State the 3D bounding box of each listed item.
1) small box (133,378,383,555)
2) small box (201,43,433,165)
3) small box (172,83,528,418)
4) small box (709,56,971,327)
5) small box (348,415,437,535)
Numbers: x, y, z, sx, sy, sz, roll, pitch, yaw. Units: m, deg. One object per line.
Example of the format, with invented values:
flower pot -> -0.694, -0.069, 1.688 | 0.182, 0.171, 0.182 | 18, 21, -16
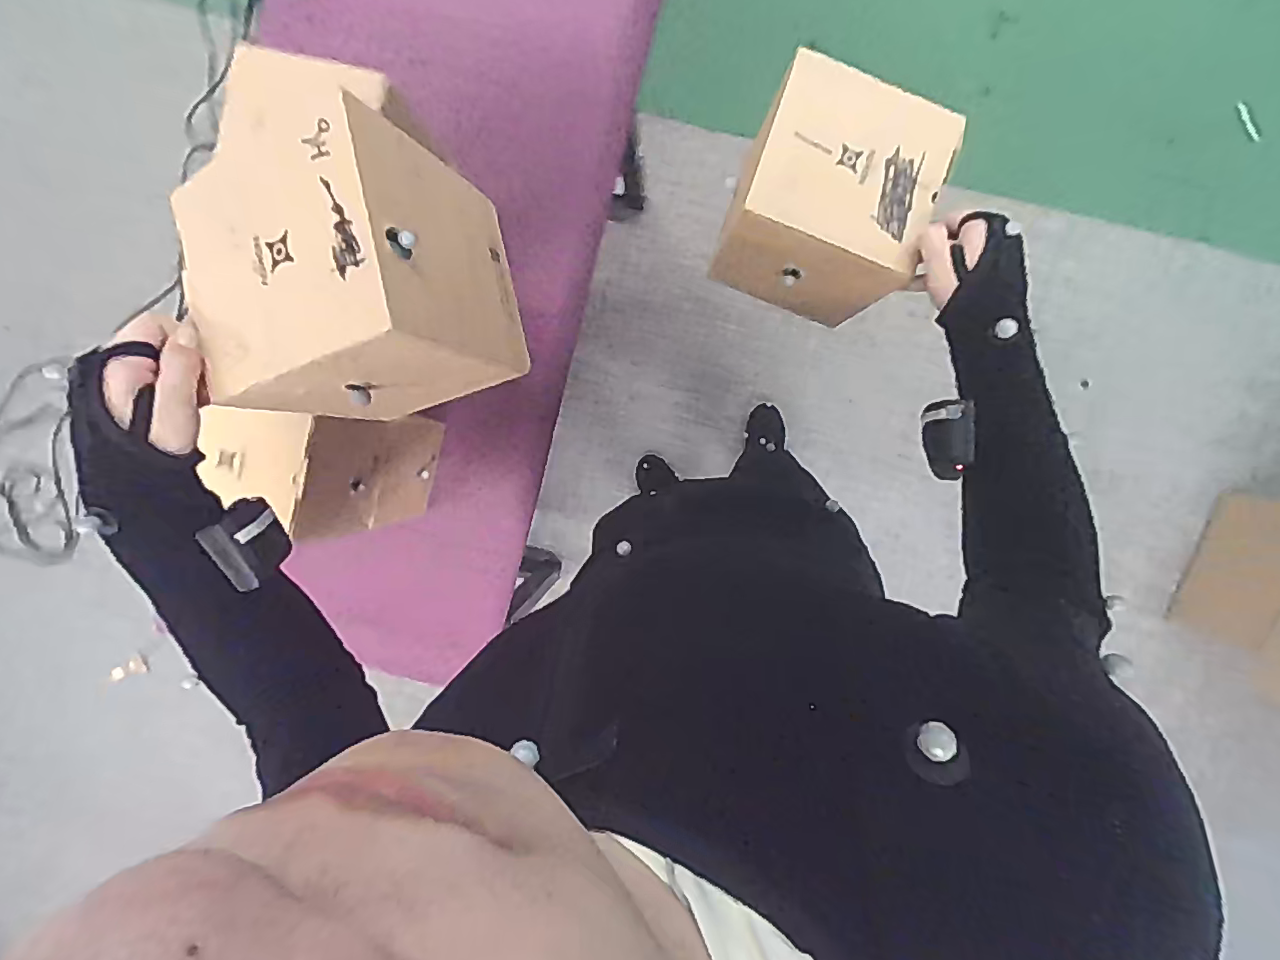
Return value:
small box -> -0.459, -0.017, 0.675 | 0.179, 0.176, 0.168 | 13, 93, 2
small box -> -0.369, -0.365, 0.649 | 0.179, 0.176, 0.168 | 14, 94, 3
small box -> -0.218, -0.152, 0.435 | 0.179, 0.176, 0.168 | -13, 87, 19
small box -> 0.195, -0.282, 0.578 | 0.179, 0.176, 0.168 | 22, 87, -5
small box -> -0.448, -0.026, 0.837 | 0.179, 0.176, 0.168 | 15, 94, 2
